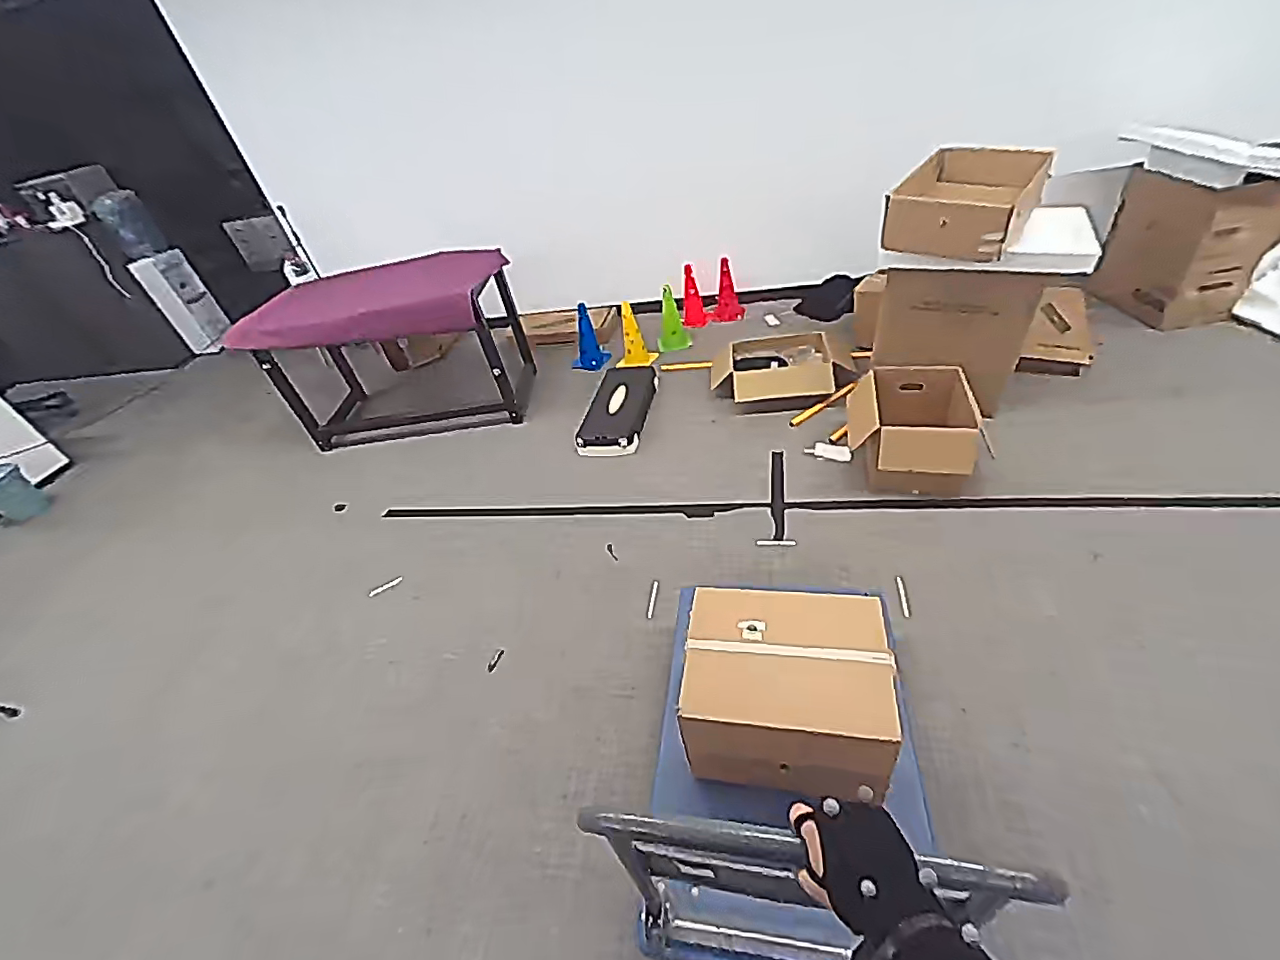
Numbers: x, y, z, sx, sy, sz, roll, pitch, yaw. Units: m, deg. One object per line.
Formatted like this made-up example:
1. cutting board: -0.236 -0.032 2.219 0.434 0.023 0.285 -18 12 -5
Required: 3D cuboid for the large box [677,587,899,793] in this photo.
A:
1. large box: 0.317 0.455 1.195 0.408 0.320 0.320 -1 40 15
